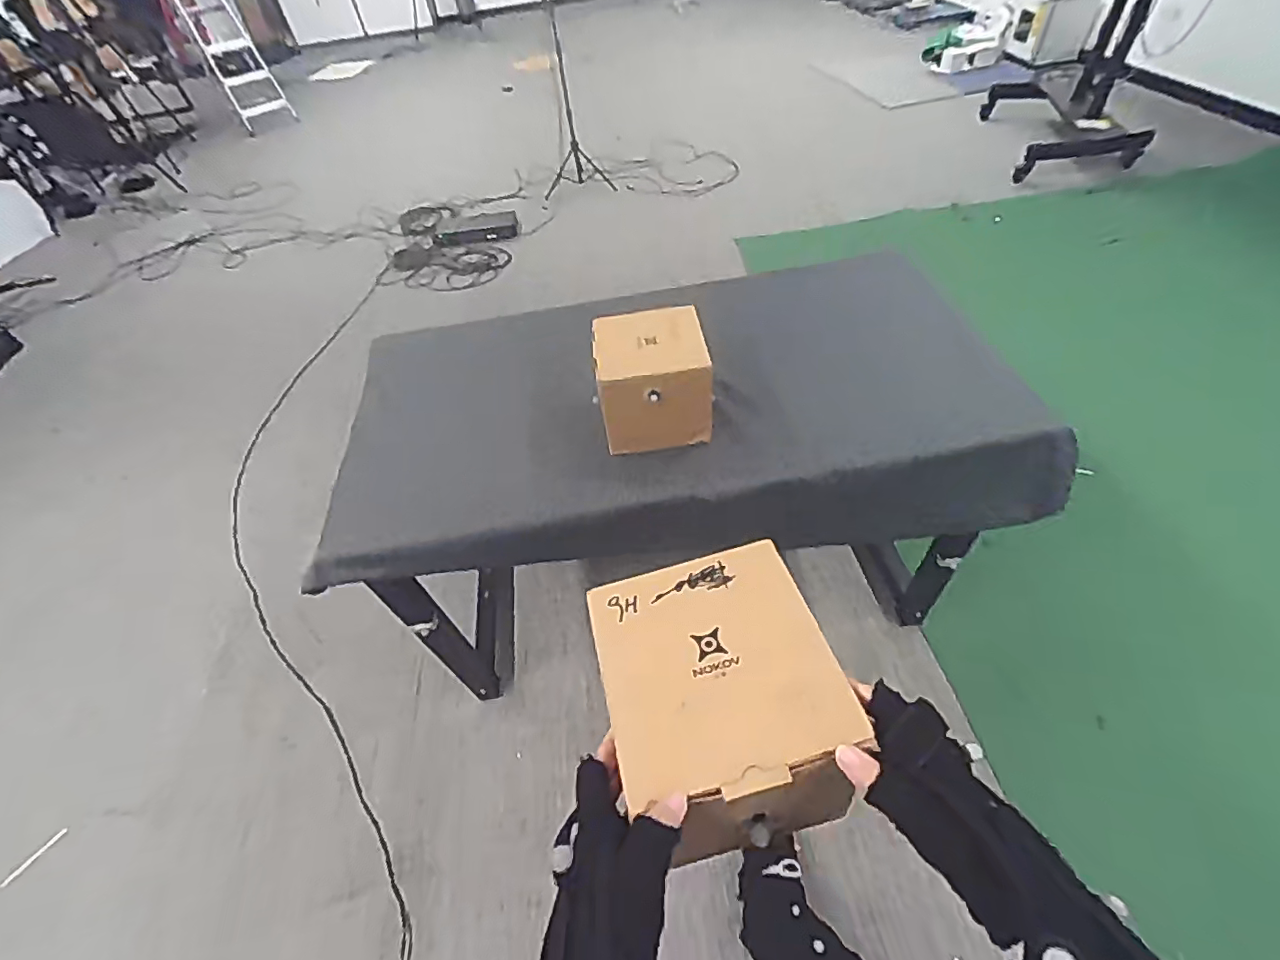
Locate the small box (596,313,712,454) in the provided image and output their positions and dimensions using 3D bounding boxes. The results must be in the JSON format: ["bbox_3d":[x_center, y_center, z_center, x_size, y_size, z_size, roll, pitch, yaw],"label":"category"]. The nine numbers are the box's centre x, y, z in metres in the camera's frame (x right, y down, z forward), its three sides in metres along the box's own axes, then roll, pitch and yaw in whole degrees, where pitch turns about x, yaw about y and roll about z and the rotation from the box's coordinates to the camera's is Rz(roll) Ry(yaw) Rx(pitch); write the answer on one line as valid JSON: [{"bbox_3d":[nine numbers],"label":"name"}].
[{"bbox_3d":[0.025,-0.160,0.929,0.179,0.176,0.168,-8,50,0],"label":"small box"}]
